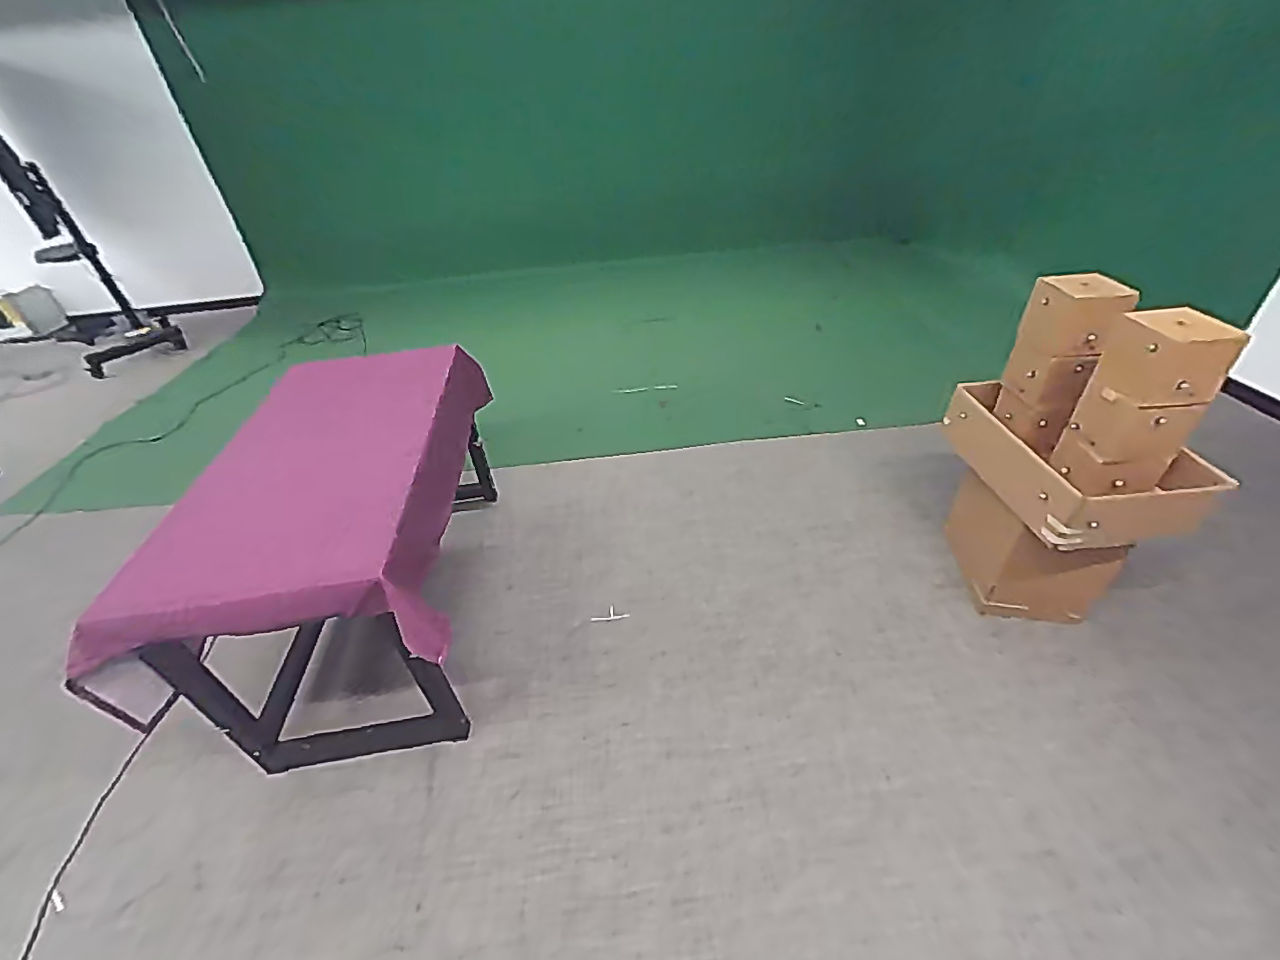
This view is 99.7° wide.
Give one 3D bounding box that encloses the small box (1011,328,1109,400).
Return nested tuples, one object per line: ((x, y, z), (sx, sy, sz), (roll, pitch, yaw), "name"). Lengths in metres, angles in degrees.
((1.243, -0.350, 1.606), (0.179, 0.176, 0.168), (-5, 38, 1), "small box")

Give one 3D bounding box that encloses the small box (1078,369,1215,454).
((1.270, -0.178, 1.378), (0.179, 0.176, 0.168), (-4, 37, 3), "small box")

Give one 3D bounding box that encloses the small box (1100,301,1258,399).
((1.257, -0.309, 1.282), (0.168, 0.176, 0.179), (-5, 38, 2), "small box")

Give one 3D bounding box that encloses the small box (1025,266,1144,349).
((1.221, -0.479, 1.505), (0.168, 0.176, 0.179), (-4, 38, 4), "small box")
